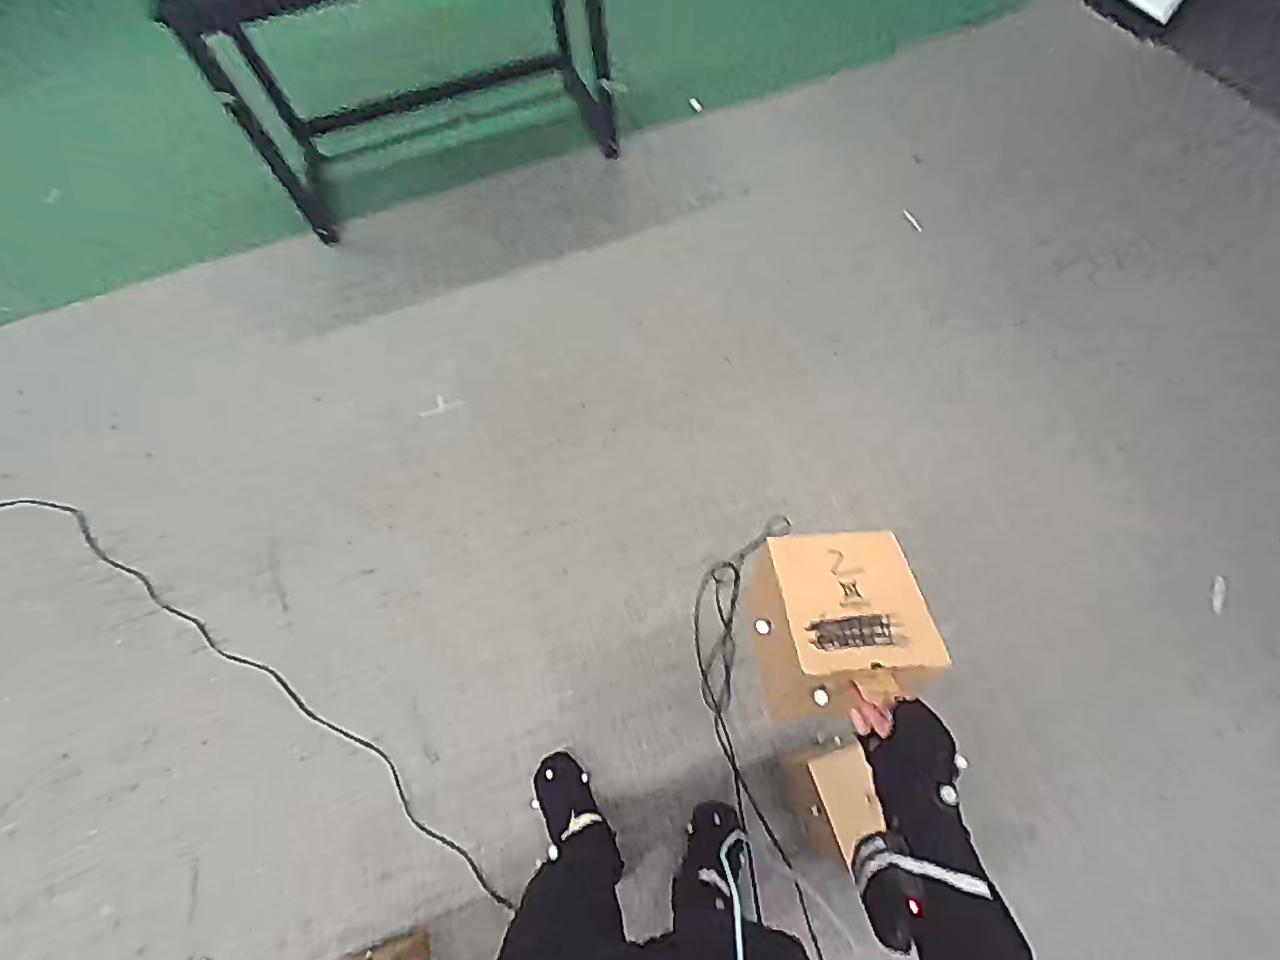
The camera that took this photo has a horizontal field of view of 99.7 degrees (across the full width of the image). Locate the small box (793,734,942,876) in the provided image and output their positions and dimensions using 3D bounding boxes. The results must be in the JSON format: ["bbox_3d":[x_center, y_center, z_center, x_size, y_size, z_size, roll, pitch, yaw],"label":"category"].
[{"bbox_3d":[0.398,0.580,0.987,0.168,0.176,0.179,-16,65,-4],"label":"small box"}]

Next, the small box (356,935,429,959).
[{"bbox_3d":[-0.504,1.007,1.019,0.179,0.176,0.168,-18,65,-5],"label":"small box"}]

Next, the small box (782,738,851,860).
[{"bbox_3d":[0.410,0.647,1.118,0.168,0.176,0.179,-14,65,-3],"label":"small box"}]
